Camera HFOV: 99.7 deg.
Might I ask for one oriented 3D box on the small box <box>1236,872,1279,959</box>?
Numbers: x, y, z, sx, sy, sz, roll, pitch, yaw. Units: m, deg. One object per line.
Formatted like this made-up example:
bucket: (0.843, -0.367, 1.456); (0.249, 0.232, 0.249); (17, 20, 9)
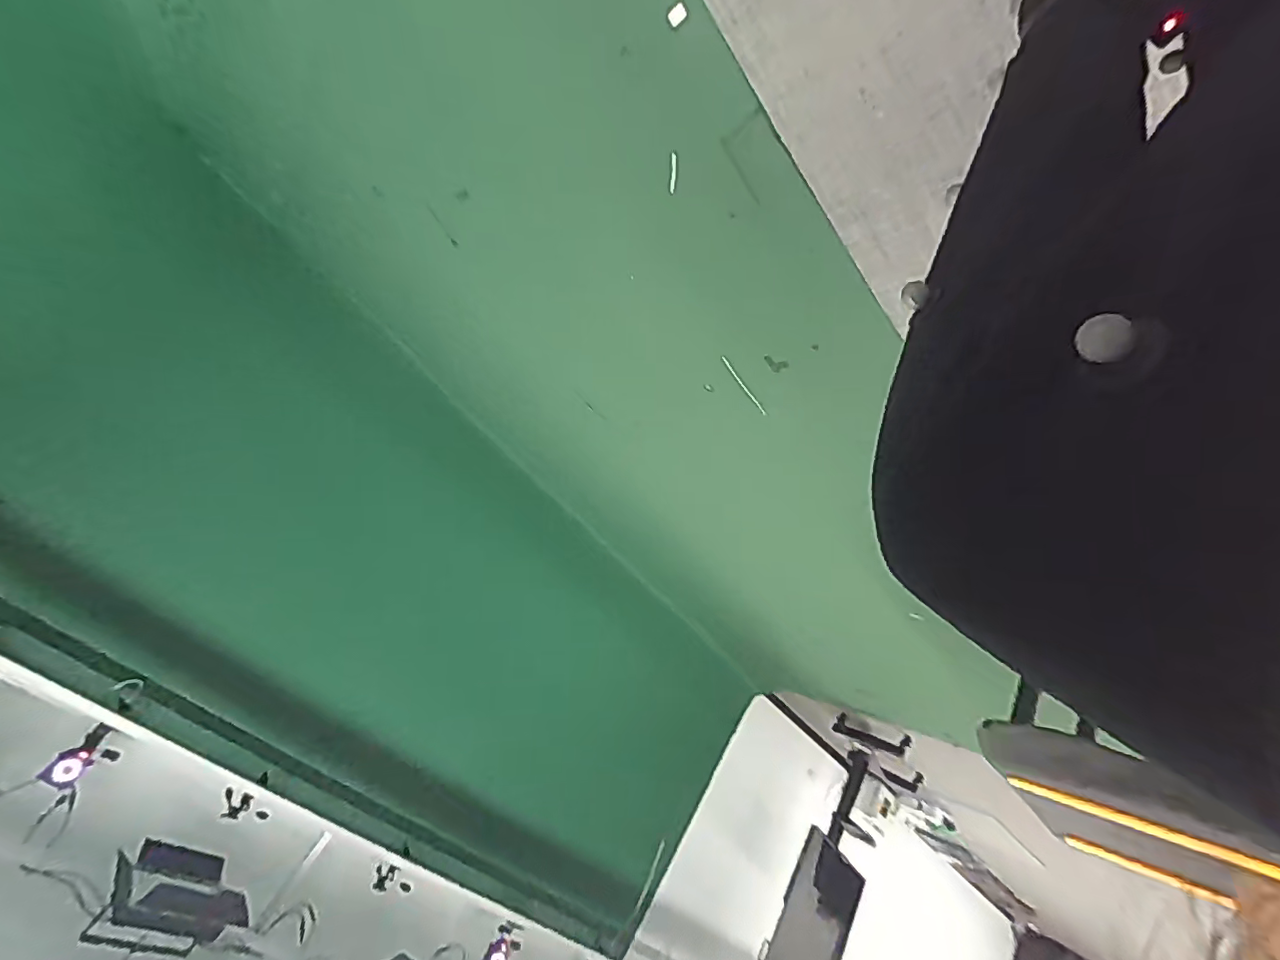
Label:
small box: (1.589, 1.105, 1.310); (0.179, 0.176, 0.168); (46, 153, -22)
